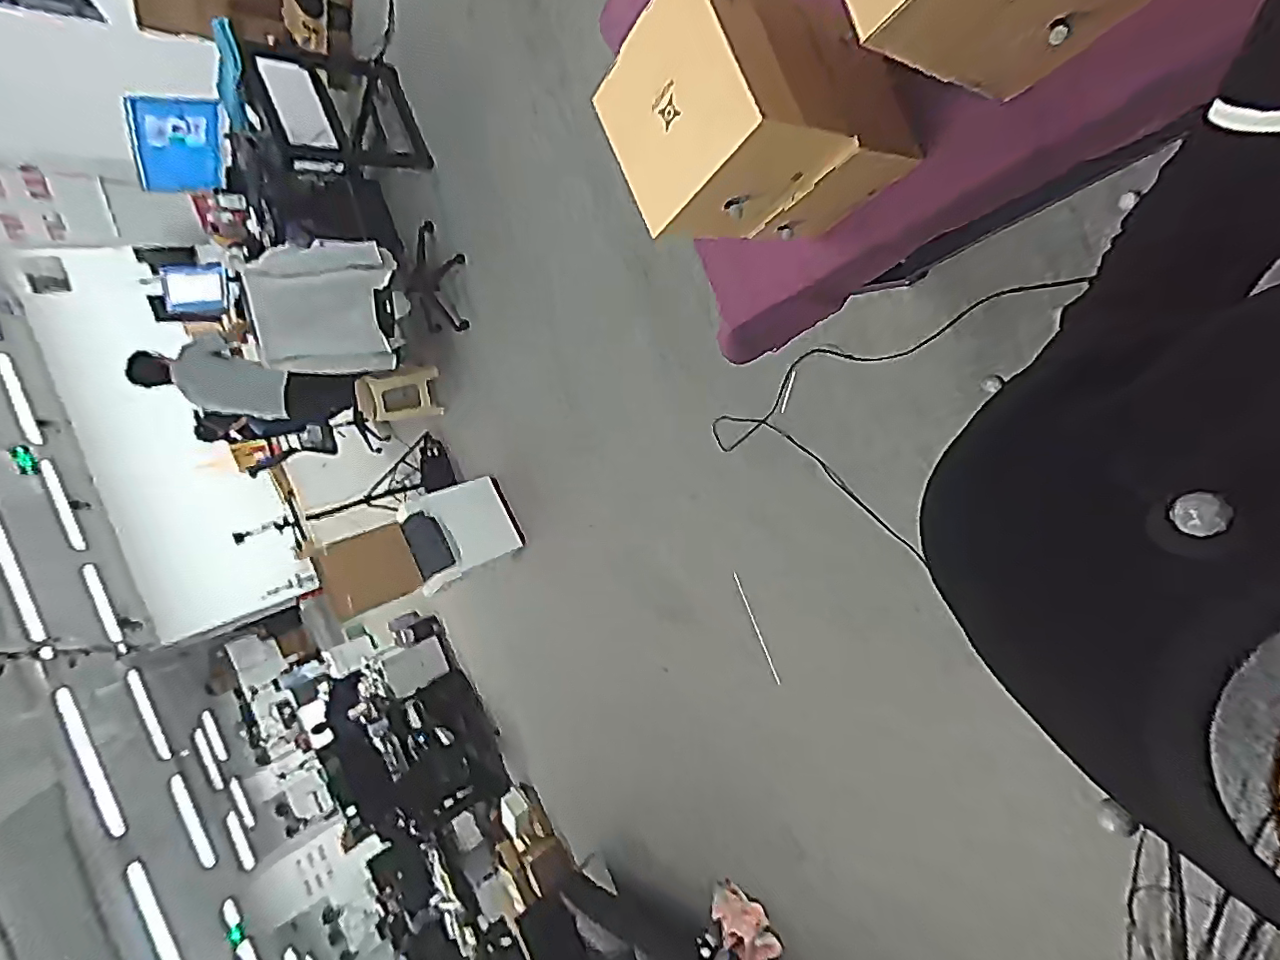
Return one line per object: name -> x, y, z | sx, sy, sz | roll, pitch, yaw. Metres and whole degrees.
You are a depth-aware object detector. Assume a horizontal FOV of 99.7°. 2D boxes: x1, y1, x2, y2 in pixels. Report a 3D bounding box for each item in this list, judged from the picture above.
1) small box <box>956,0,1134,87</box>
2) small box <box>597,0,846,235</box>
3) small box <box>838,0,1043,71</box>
small box -> 0.359, -0.494, 0.479 | 0.179, 0.176, 0.168 | -22, 90, 52
small box -> 0.089, -0.394, 0.585 | 0.168, 0.176, 0.179 | -27, 85, 52
small box -> 0.240, -0.438, 0.378 | 0.179, 0.176, 0.168 | -18, 92, 53
